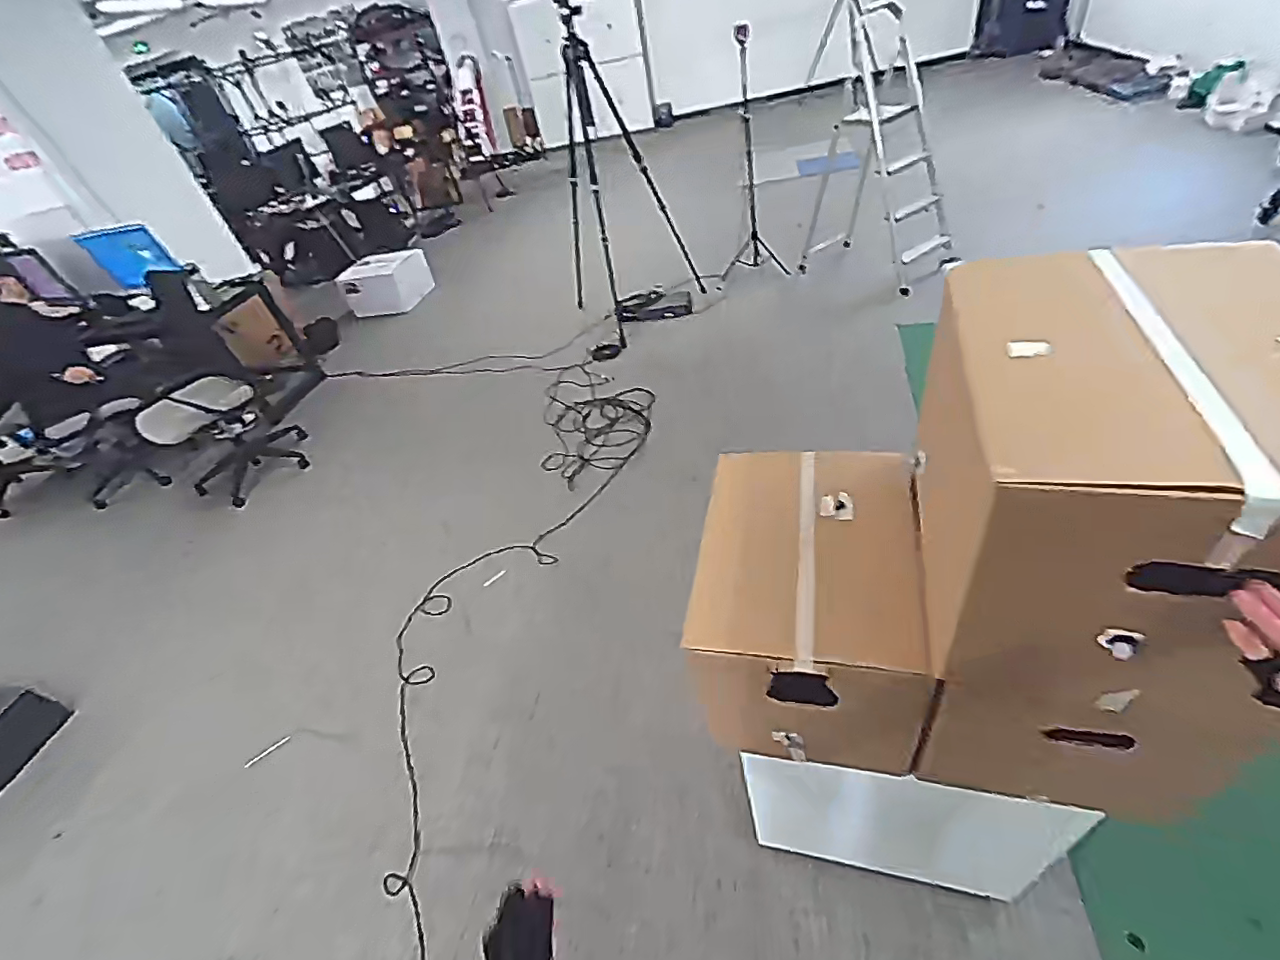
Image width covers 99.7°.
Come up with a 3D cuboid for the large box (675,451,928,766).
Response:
[{"bbox_3d":[0.265,0.198,0.906,0.320,0.320,0.408,1,42,18],"label":"large box"}]
